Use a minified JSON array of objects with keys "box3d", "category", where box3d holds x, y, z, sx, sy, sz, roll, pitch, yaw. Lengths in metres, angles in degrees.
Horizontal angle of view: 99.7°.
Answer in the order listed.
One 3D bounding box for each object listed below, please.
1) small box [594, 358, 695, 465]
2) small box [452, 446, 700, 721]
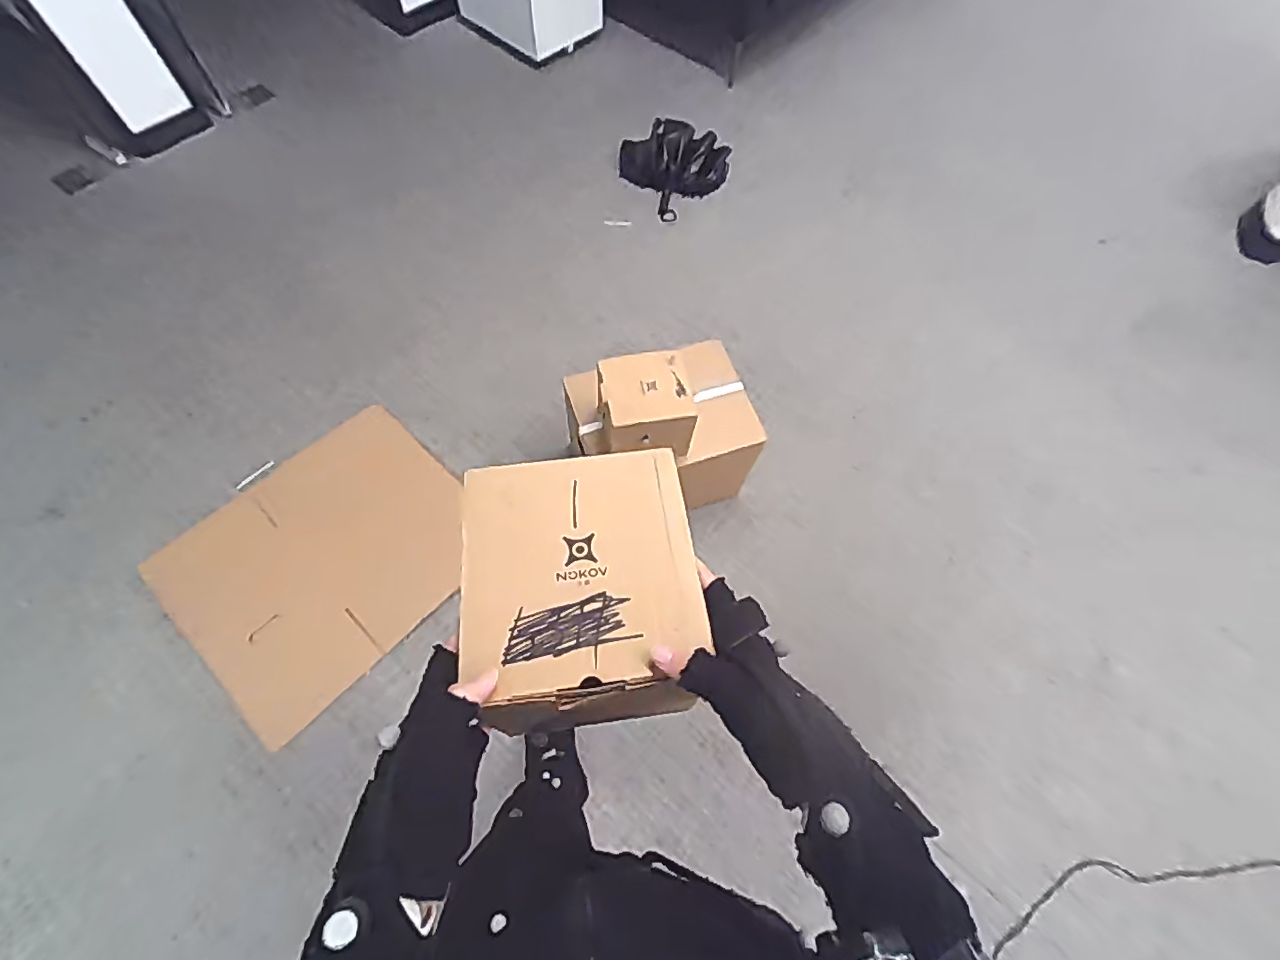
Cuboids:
[{"box3d":[0.004,-0.135,1.164,0.179,0.176,0.168,-12,64,-10],"category":"small box"},{"box3d":[-0.053,0.097,0.462,0.168,0.176,0.179,-9,61,-6],"category":"small box"}]
